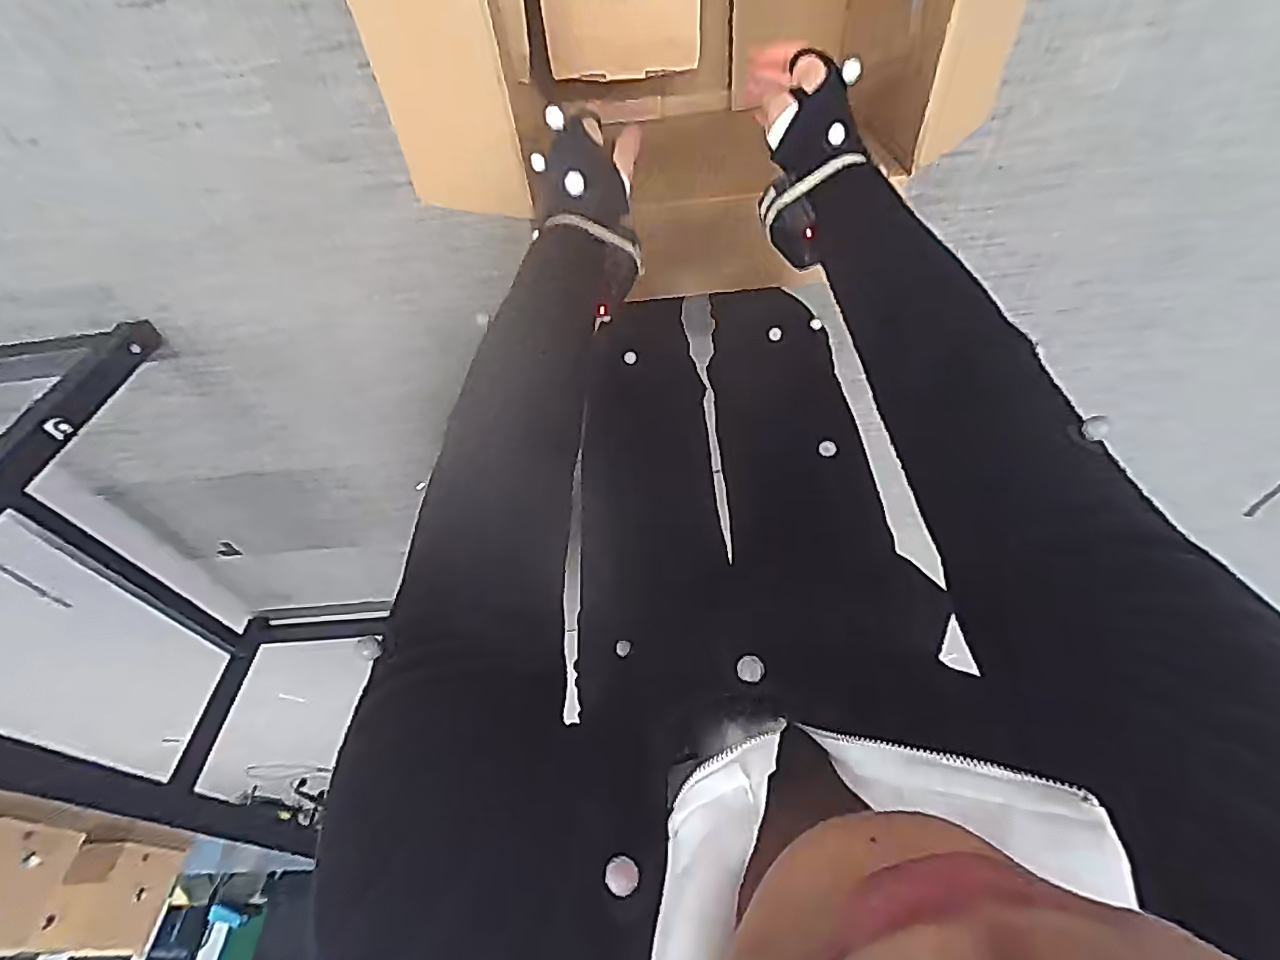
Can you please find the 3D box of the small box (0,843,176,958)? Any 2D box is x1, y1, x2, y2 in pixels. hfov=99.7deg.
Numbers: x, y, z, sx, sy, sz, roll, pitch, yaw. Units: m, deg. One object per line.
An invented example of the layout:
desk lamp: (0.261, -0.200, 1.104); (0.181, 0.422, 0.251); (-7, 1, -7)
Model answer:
small box: (-1.078, 0.830, 1.070); (0.179, 0.176, 0.168); (-4, 138, 3)

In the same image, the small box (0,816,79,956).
small box: (-1.094, 0.655, 0.871); (0.179, 0.176, 0.168); (-5, 139, 3)
